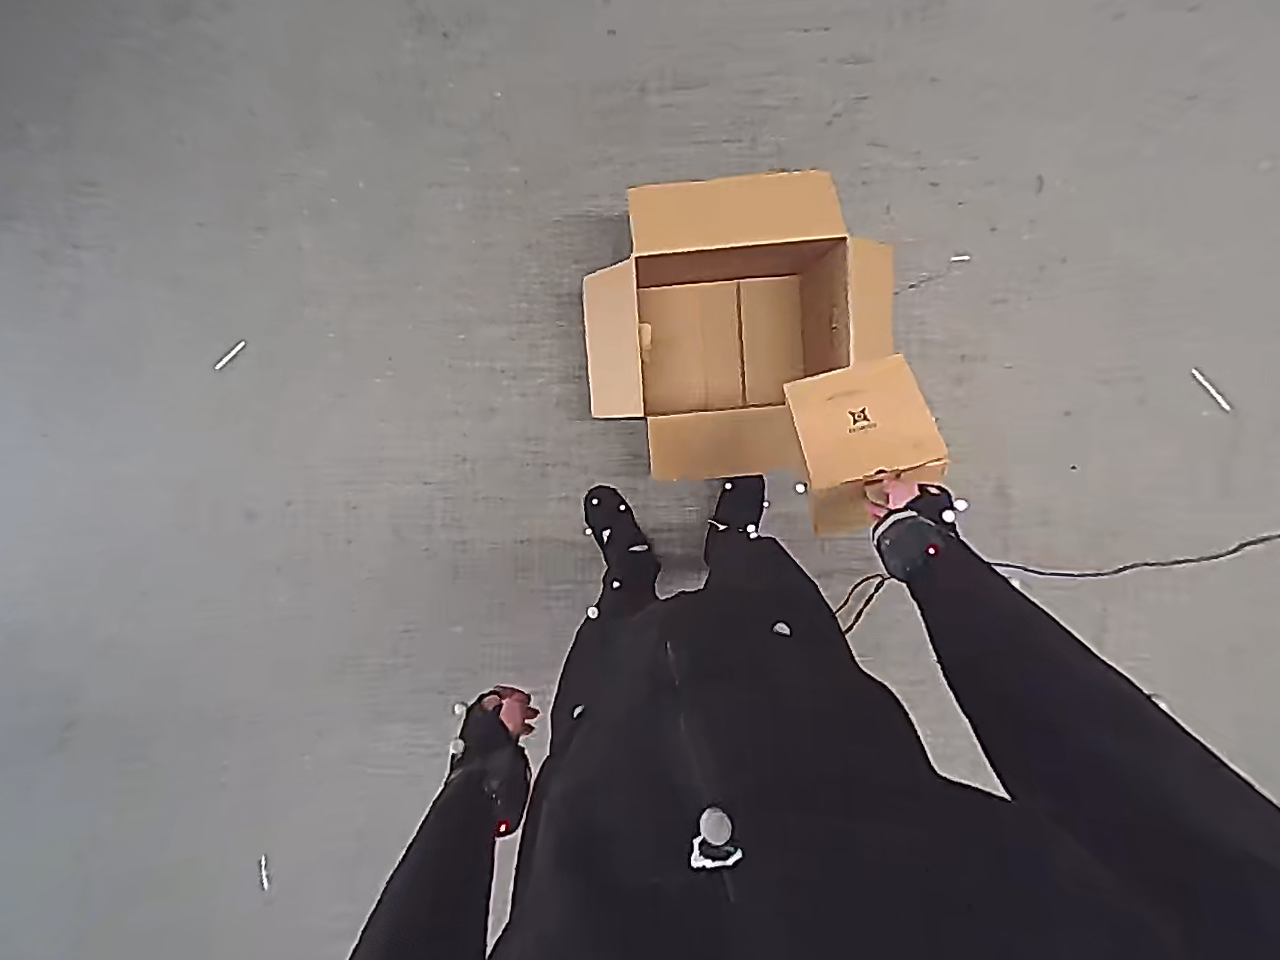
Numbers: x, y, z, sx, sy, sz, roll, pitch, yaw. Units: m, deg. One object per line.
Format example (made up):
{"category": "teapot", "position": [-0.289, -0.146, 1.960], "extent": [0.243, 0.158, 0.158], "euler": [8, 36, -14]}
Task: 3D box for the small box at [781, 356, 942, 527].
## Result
{"category": "small box", "position": [0.310, -0.044, 0.787], "extent": [0.168, 0.176, 0.179], "euler": [-12, 58, 10]}
